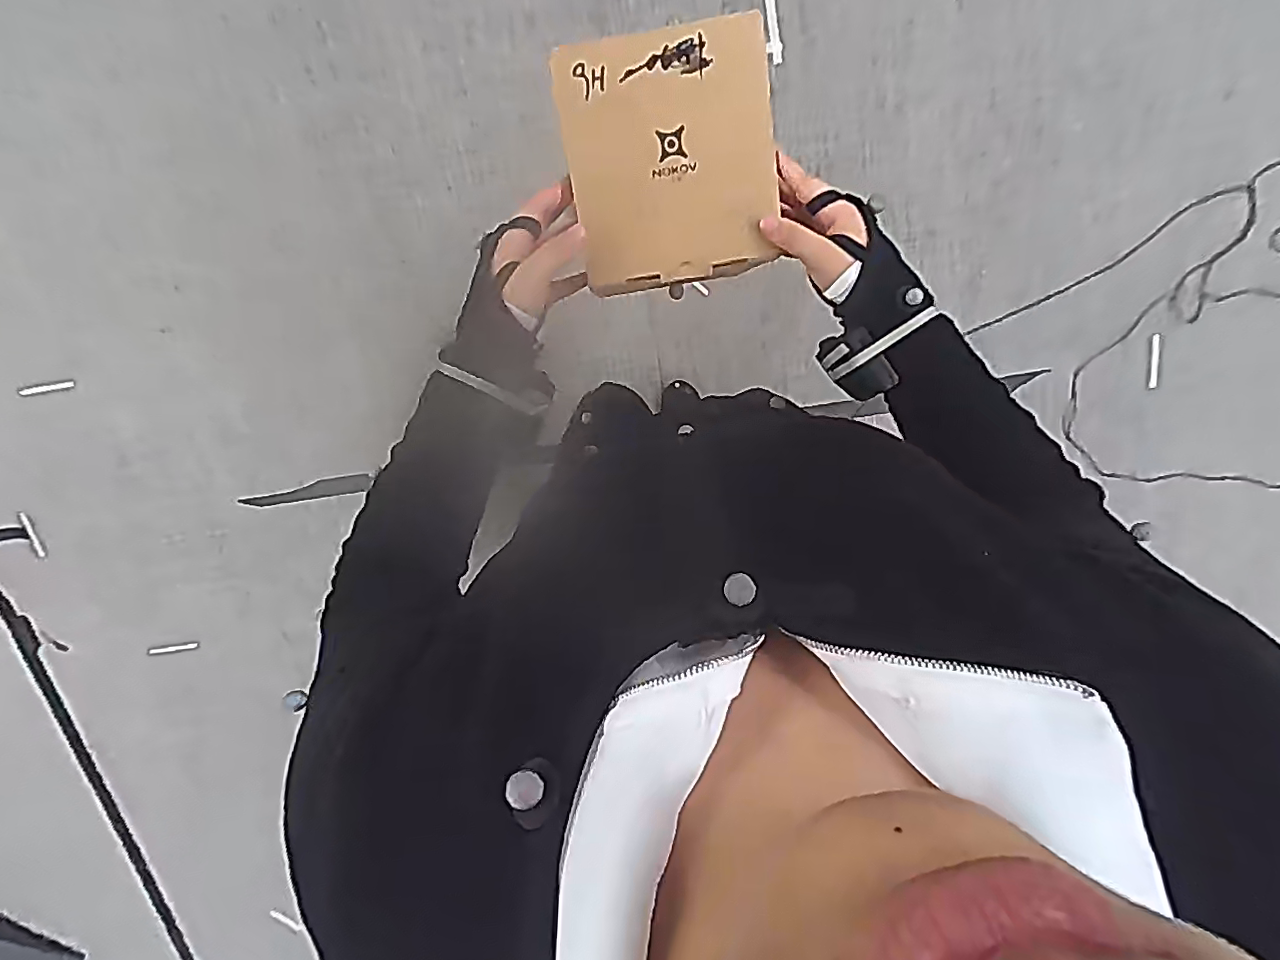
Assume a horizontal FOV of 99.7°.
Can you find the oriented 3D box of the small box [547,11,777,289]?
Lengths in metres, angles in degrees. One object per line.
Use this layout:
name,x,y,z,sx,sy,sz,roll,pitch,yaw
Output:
small box,0.021,-0.281,0.506,0.168,0.176,0.179,-10,107,1
